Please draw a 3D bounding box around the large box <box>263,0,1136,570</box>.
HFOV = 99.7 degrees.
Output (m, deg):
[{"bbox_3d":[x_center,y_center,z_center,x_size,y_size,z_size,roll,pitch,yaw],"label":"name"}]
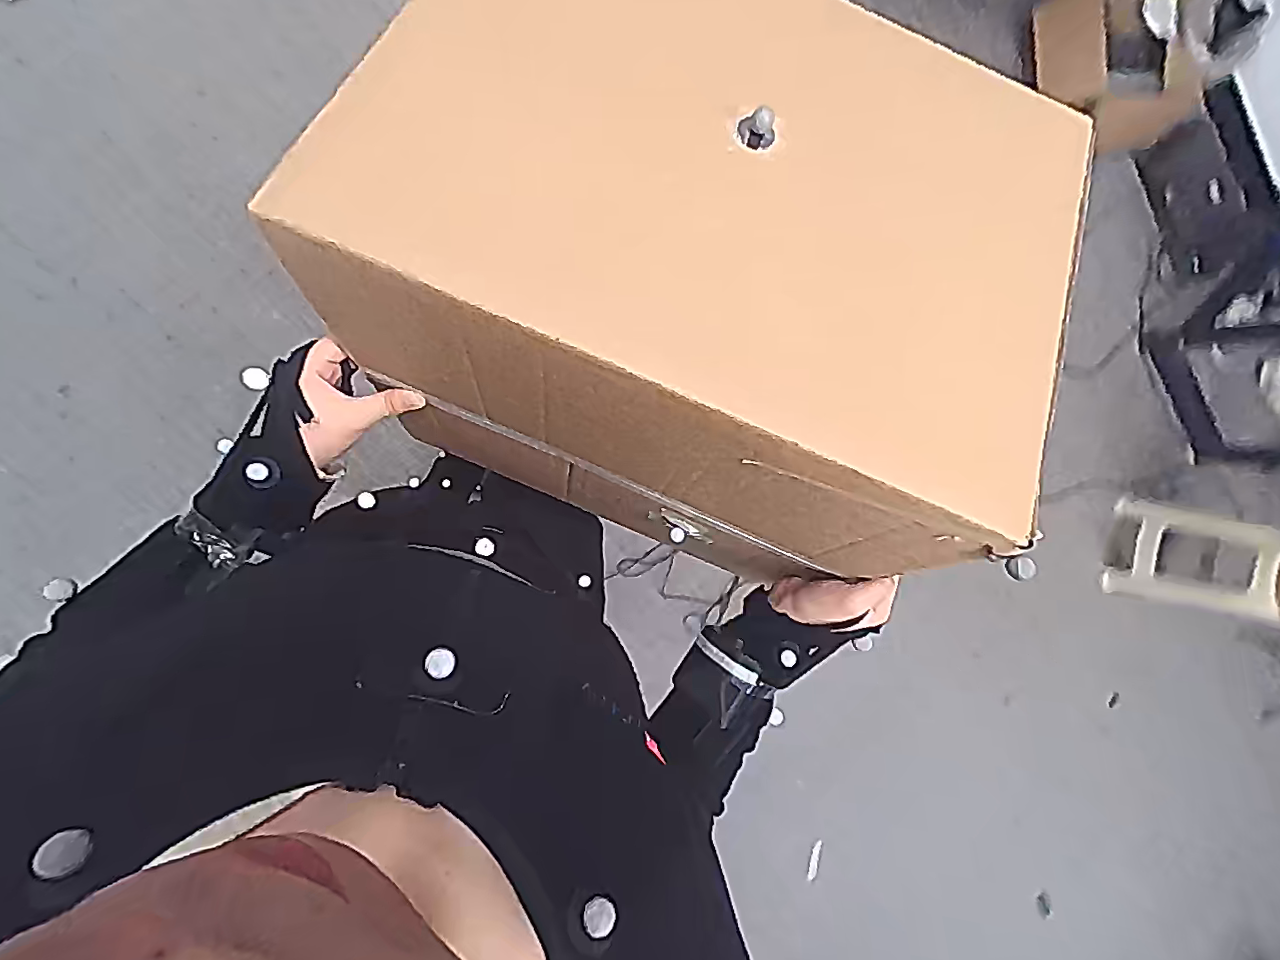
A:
[{"bbox_3d":[0.050,-0.157,0.420,0.408,0.320,0.320,21,74,-2],"label":"large box"}]
